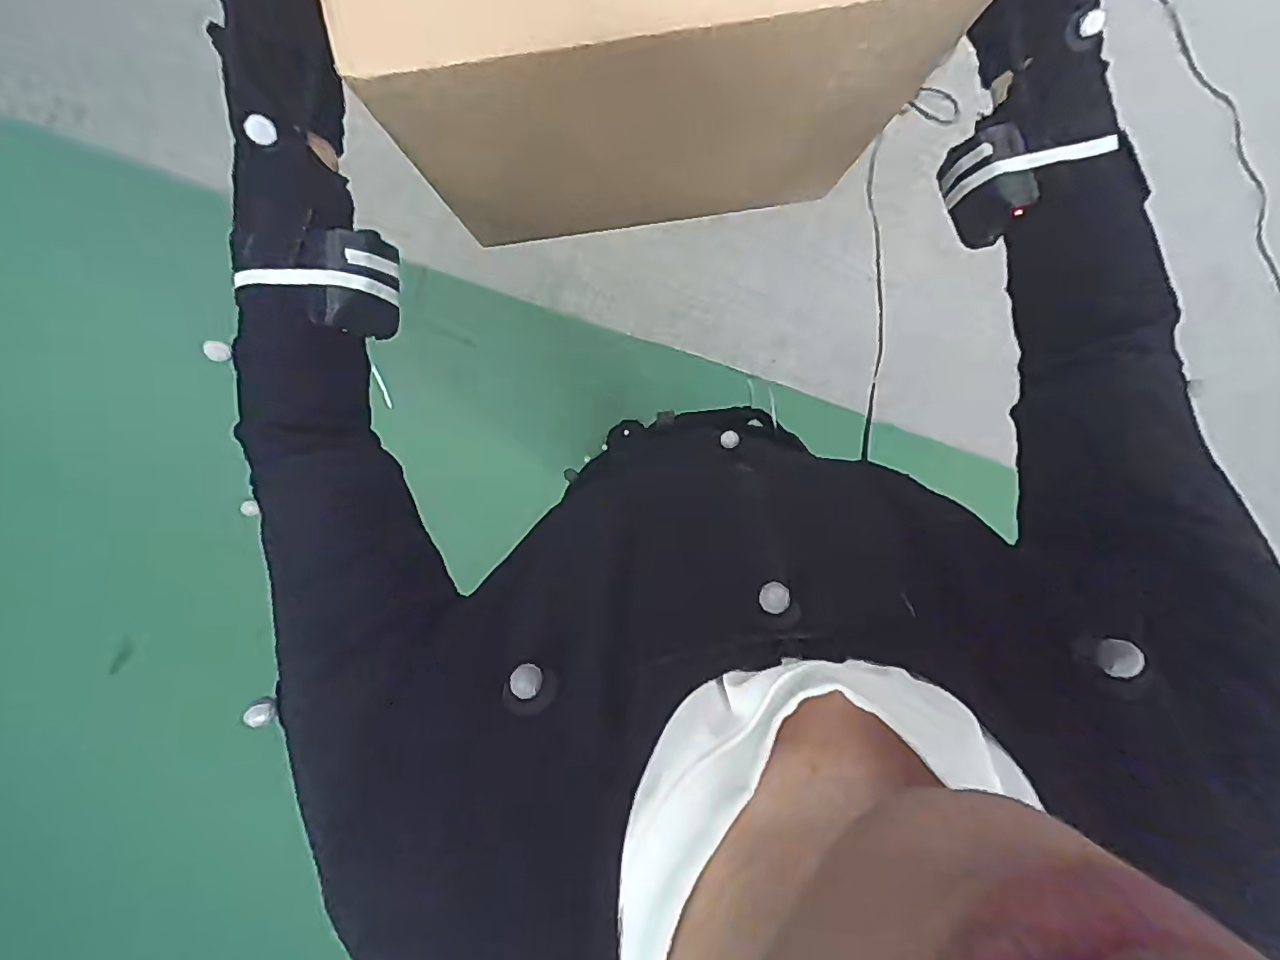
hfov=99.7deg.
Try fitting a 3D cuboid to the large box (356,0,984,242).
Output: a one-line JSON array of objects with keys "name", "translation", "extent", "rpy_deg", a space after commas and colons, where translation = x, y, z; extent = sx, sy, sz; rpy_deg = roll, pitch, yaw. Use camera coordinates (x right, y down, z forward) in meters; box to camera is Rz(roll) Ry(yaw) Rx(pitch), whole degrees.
[{"name": "large box", "translation": [0.002, -0.437, 0.464], "extent": [0.408, 0.320, 0.320], "rpy_deg": [-8, 96, -1]}]
